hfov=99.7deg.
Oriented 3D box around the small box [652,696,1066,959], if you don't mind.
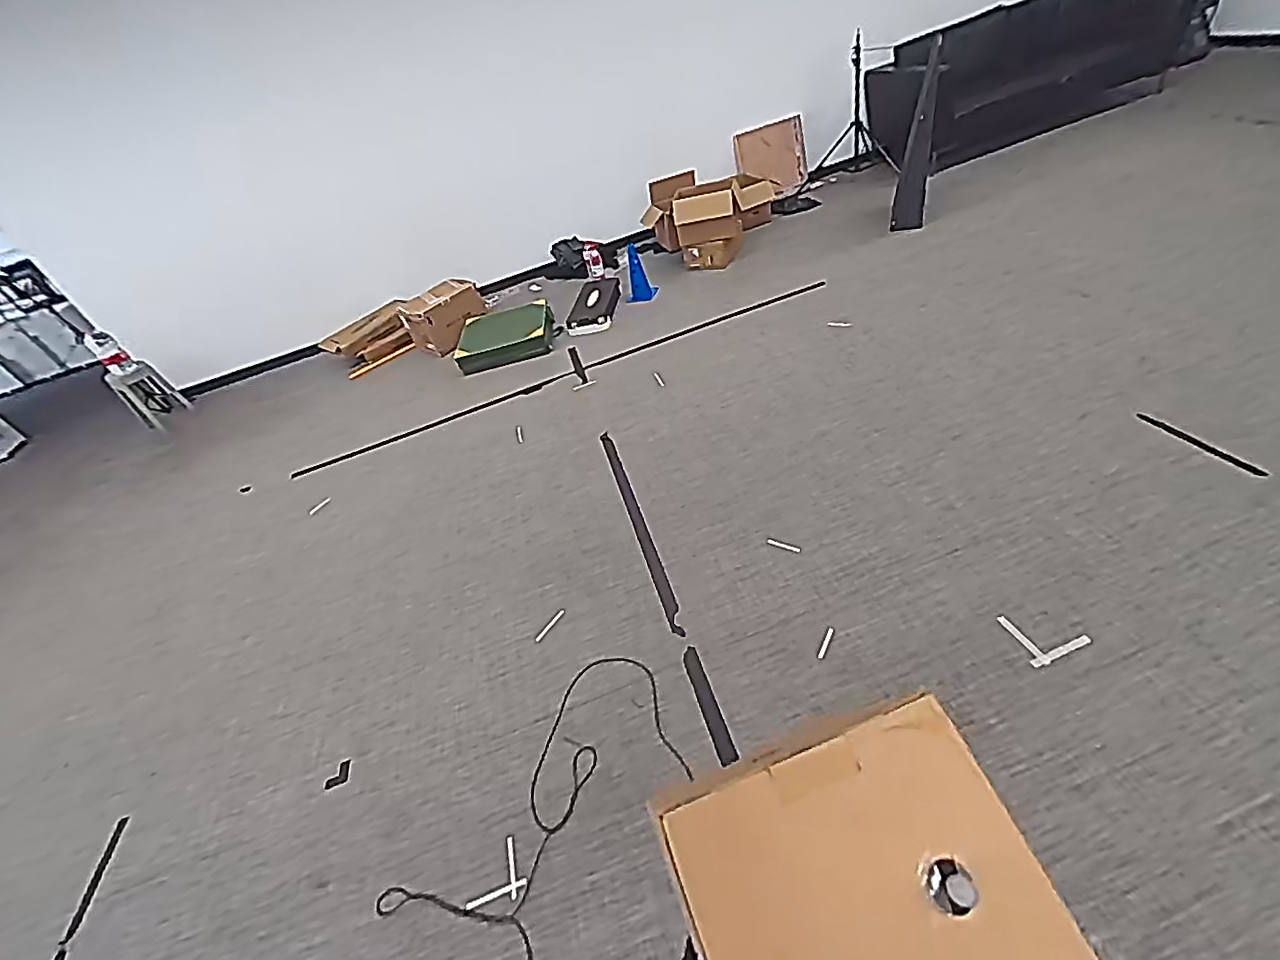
[{"bbox_3d":[0.116,0.258,0.334,0.168,0.179,0.176,-18,62,-11],"label":"small box"}]
